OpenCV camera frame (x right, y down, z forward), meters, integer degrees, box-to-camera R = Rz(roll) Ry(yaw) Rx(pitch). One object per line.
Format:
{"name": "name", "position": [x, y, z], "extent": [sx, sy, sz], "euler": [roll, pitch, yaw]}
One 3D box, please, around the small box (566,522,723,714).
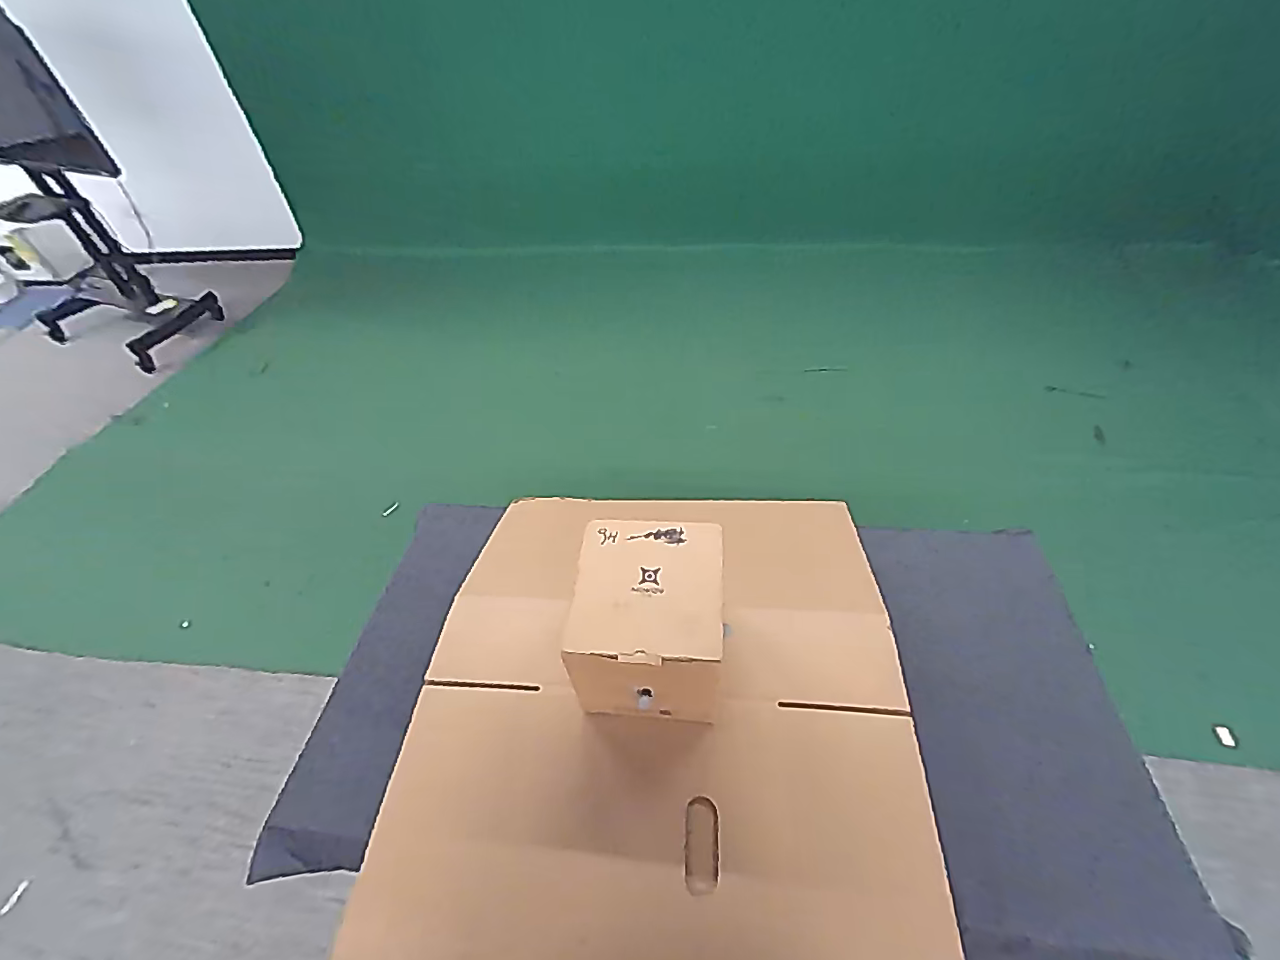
{"name": "small box", "position": [0.017, 0.170, 0.659], "extent": [0.168, 0.176, 0.179], "euler": [0, 47, 6]}
